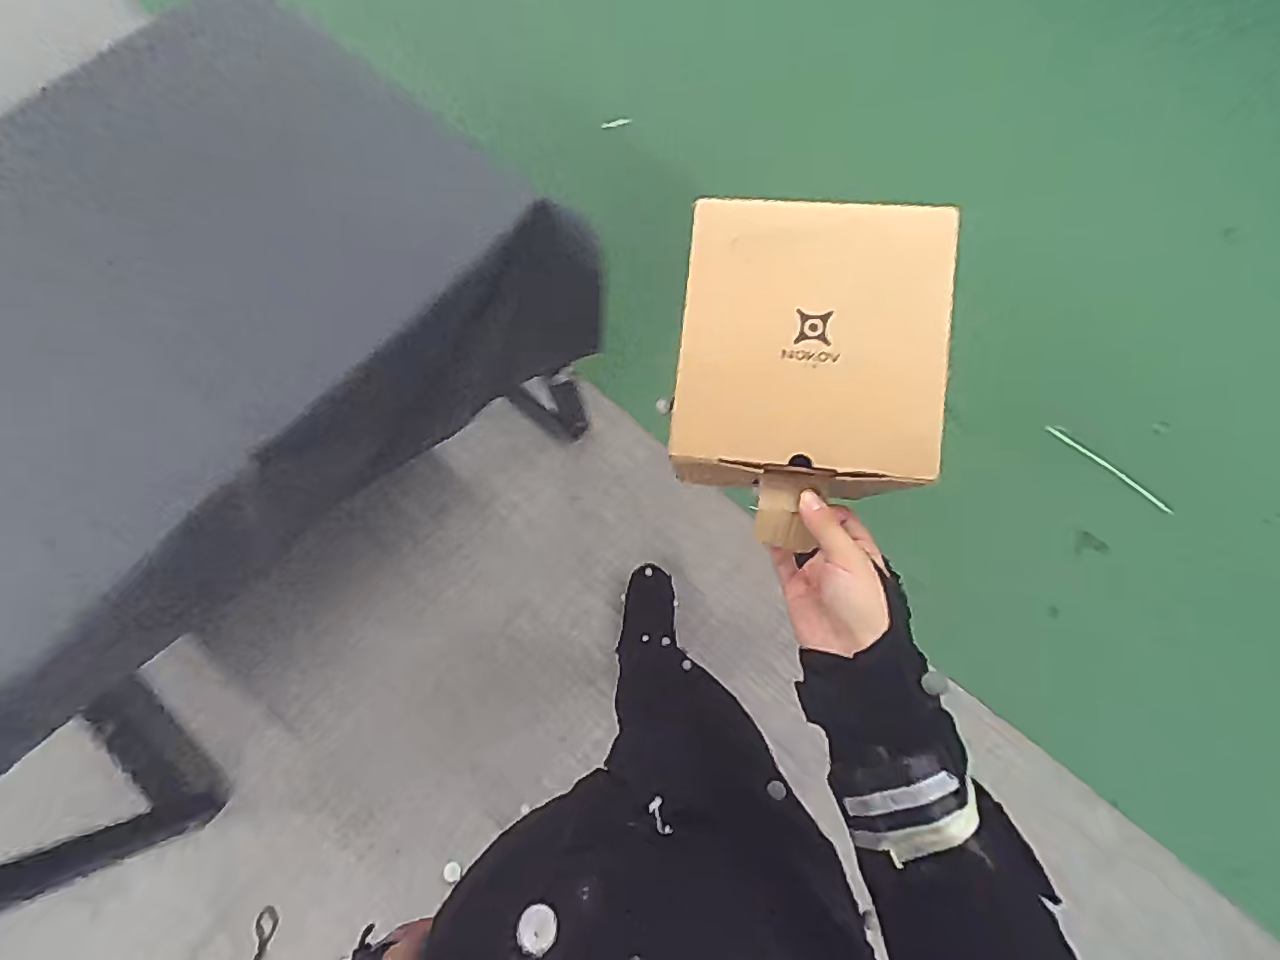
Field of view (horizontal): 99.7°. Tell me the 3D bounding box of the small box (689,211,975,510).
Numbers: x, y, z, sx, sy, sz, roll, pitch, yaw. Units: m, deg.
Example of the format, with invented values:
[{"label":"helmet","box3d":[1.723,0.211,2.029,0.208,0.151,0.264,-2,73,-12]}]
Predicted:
[{"label":"small box","box3d":[0.129,-0.075,0.421,0.168,0.176,0.179,7,85,7]}]
